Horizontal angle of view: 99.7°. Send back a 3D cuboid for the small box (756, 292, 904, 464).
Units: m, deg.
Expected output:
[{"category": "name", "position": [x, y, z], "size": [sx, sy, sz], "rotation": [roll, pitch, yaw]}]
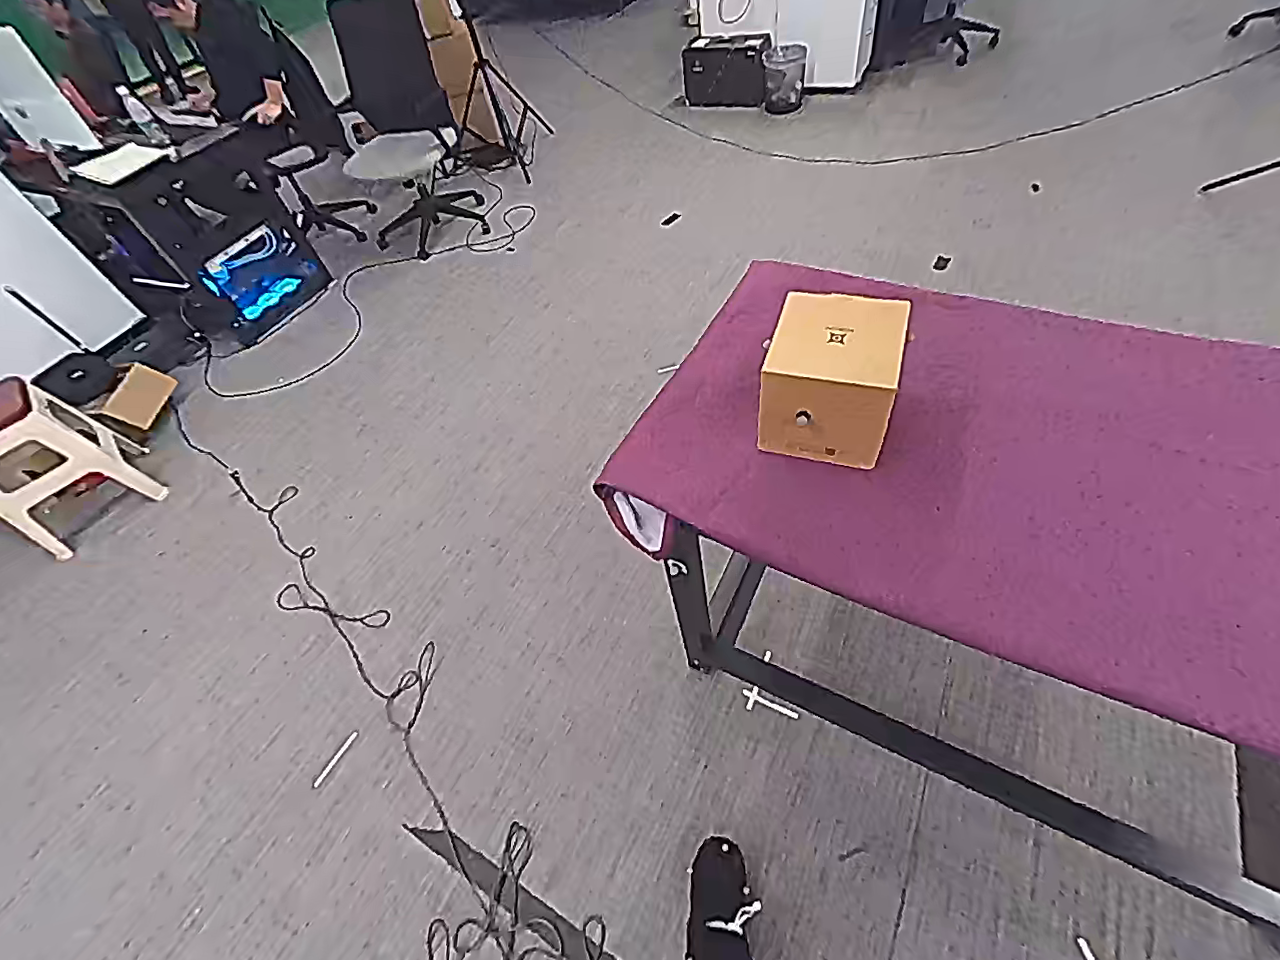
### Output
[{"category": "small box", "position": [0.270, -0.146, 0.784], "size": [0.168, 0.176, 0.179], "rotation": [11, 56, 19]}]
